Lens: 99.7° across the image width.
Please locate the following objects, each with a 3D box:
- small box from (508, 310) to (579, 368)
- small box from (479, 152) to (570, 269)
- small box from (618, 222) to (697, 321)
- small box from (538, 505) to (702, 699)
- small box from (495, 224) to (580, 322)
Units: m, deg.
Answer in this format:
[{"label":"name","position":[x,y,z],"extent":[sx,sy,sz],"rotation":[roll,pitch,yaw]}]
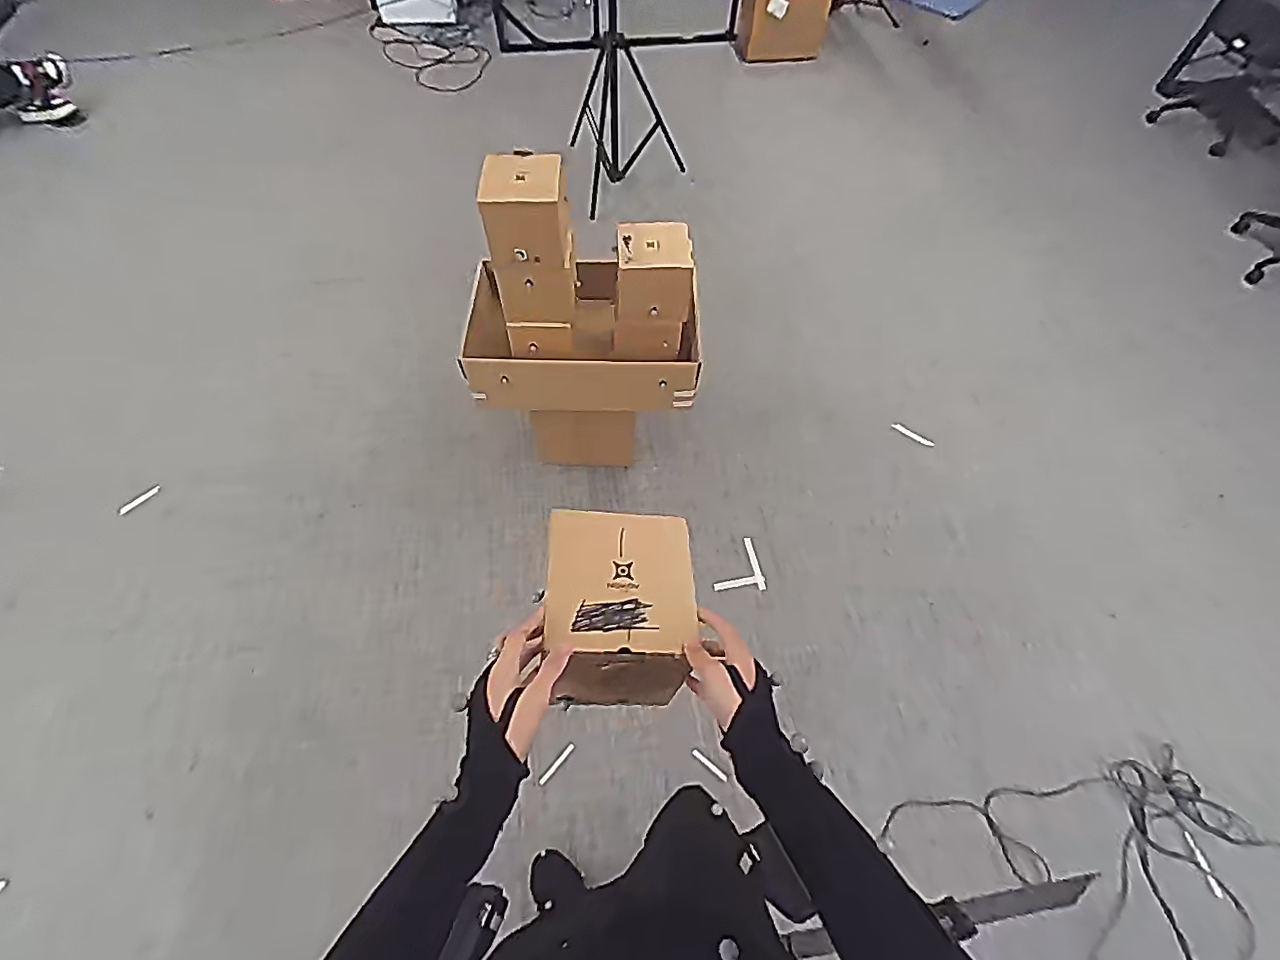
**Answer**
[{"label":"small box","position":[-0.255,-0.421,1.476],"extent":[0.168,0.176,0.179],"rotation":[0,59,-3]},{"label":"small box","position":[-0.246,-0.593,1.196],"extent":[0.168,0.176,0.179],"rotation":[-1,59,-2]},{"label":"small box","position":[0.037,-0.511,1.341],"extent":[0.179,0.176,0.168],"rotation":[-1,60,-4]},{"label":"small box","position":[-0.033,0.152,0.648],"extent":[0.168,0.176,0.179],"rotation":[5,50,-10]},{"label":"small box","position":[-0.246,-0.511,1.337],"extent":[0.179,0.176,0.168],"rotation":[1,60,-2]}]
